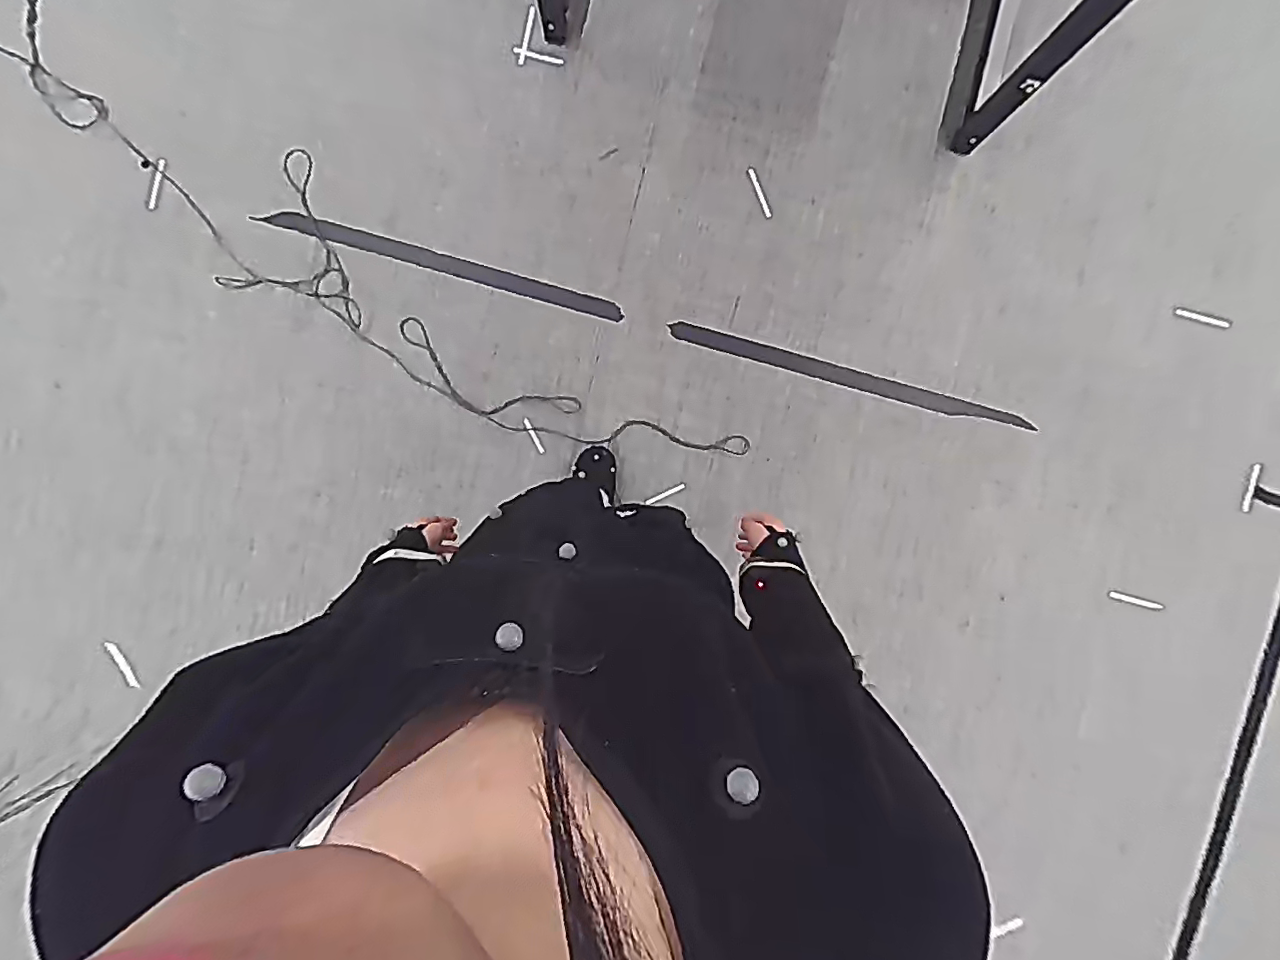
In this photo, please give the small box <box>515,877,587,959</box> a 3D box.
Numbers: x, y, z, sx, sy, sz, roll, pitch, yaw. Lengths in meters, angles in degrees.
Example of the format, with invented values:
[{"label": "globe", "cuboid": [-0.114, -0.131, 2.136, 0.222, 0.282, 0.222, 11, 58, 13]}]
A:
[{"label": "small box", "cuboid": [-0.234, 1.210, 1.440, 0.168, 0.176, 0.179, 5, 92, -2]}]
